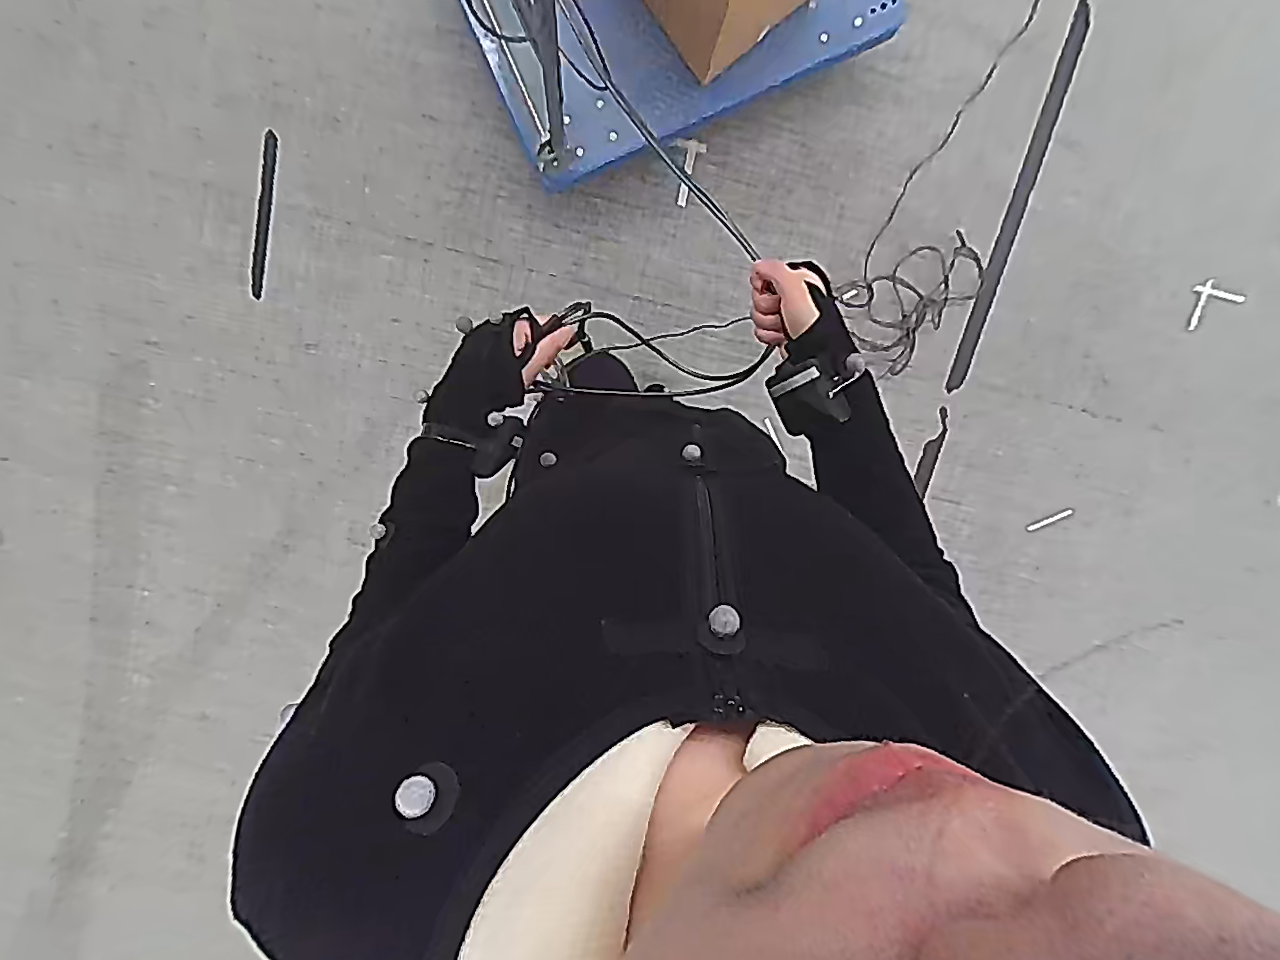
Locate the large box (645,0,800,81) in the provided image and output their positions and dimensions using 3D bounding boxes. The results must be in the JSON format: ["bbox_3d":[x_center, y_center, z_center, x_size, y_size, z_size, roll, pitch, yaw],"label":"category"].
[{"bbox_3d":[0.136,-1.065,0.970,0.320,0.320,0.408,-39,101,5],"label":"large box"}]
